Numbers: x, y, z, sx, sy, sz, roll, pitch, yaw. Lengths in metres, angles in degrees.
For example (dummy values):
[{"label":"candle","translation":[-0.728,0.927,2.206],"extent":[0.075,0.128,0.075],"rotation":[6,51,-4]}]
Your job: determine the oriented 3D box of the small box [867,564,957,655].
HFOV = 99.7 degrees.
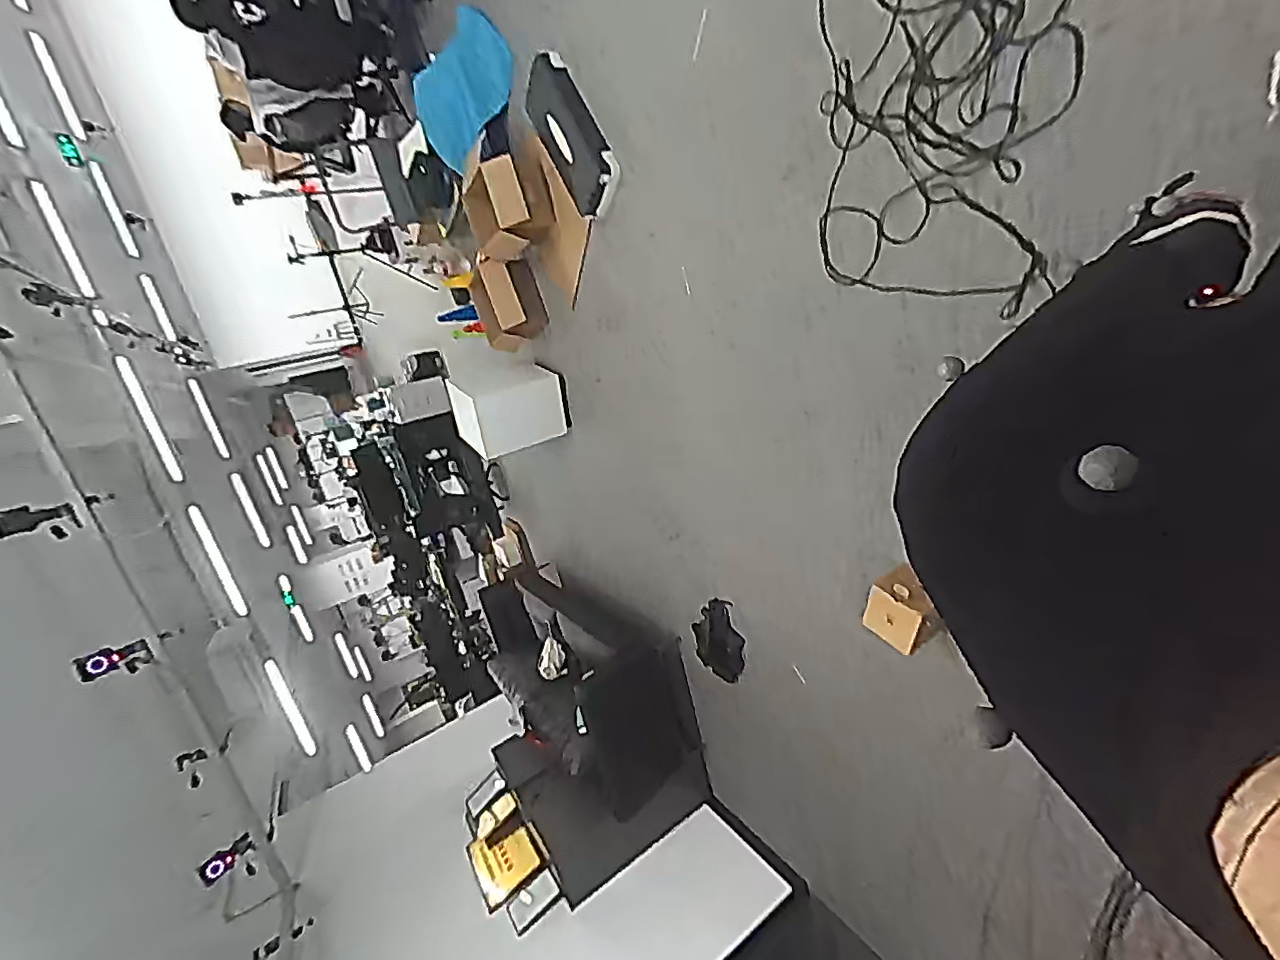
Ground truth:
[{"label":"small box","translation":[0.833,0.391,1.656],"extent":[0.168,0.176,0.179],"rotation":[38,140,45]}]
